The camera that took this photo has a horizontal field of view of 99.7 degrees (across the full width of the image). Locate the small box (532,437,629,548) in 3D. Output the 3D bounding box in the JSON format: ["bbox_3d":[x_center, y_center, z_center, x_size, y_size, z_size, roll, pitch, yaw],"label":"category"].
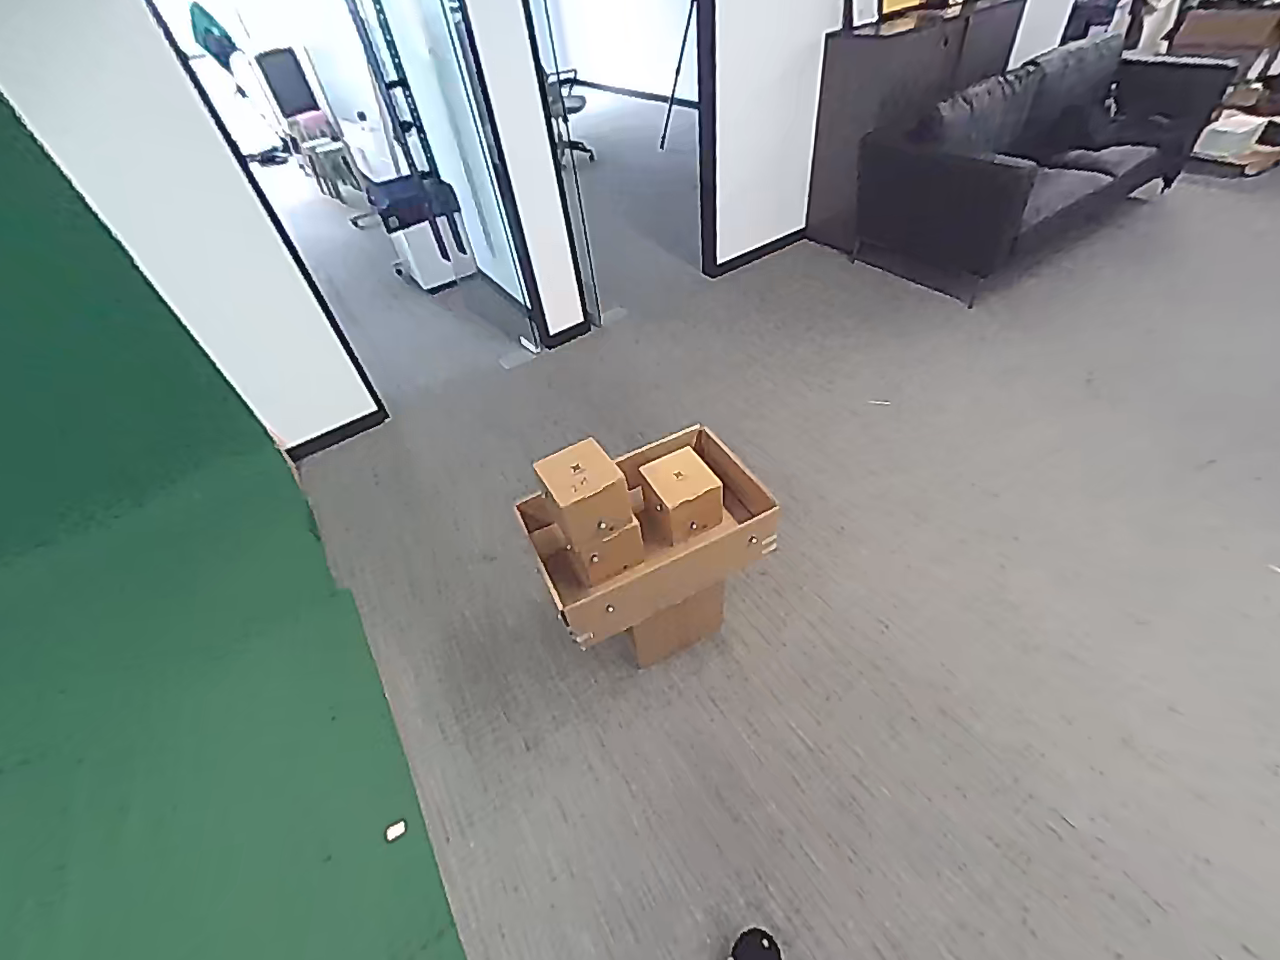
[{"bbox_3d":[-0.141,0.031,1.311,0.168,0.176,0.179,-26,50,-16],"label":"small box"}]
